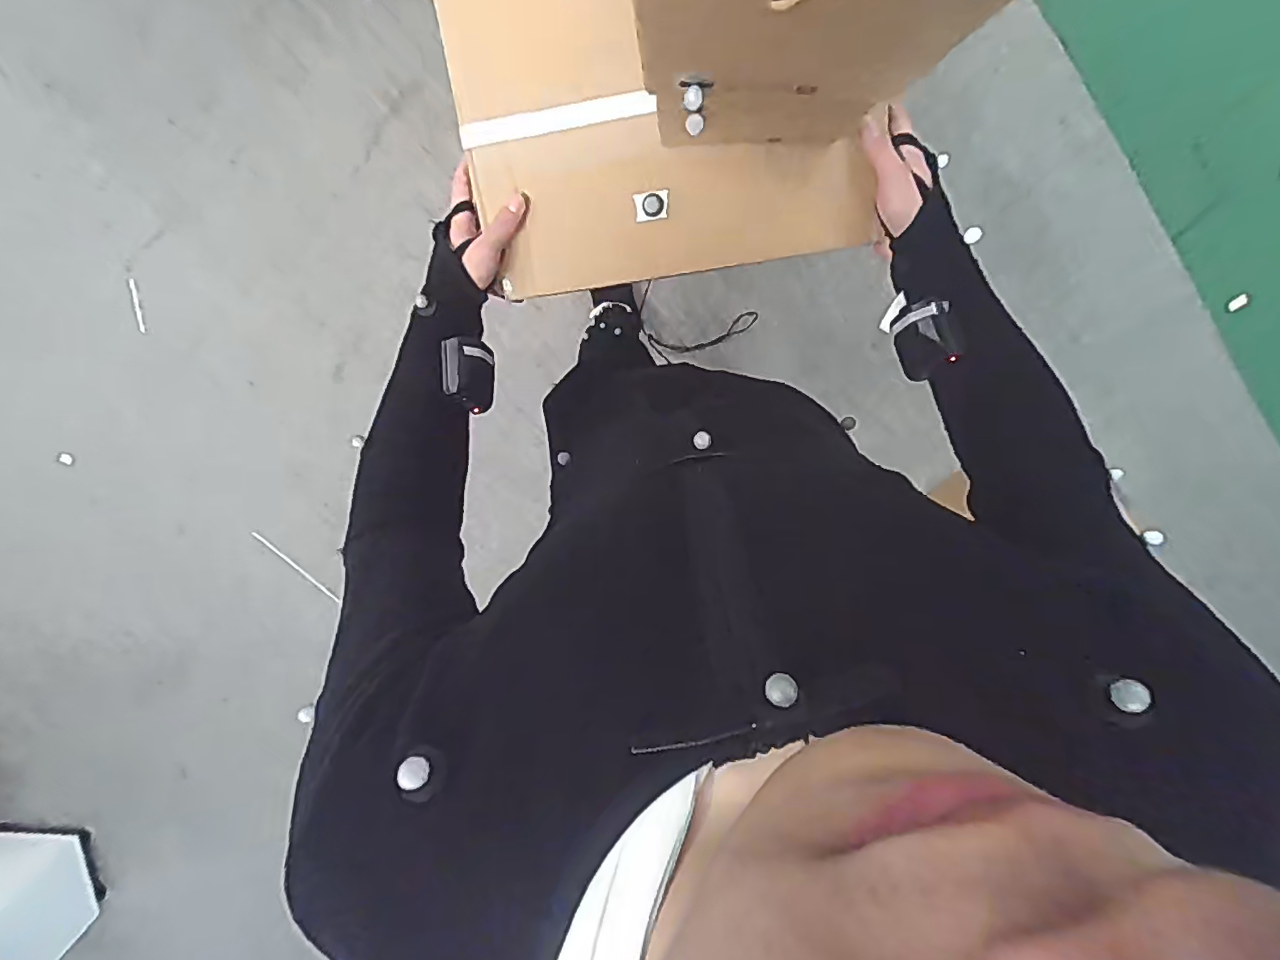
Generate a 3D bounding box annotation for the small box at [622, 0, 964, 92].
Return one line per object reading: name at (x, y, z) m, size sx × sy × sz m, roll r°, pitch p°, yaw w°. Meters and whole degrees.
small box at (0.078, -0.304, 0.246) m, size 0.168 × 0.176 × 0.179 m, roll 3°, pitch 109°, yaw 2°
